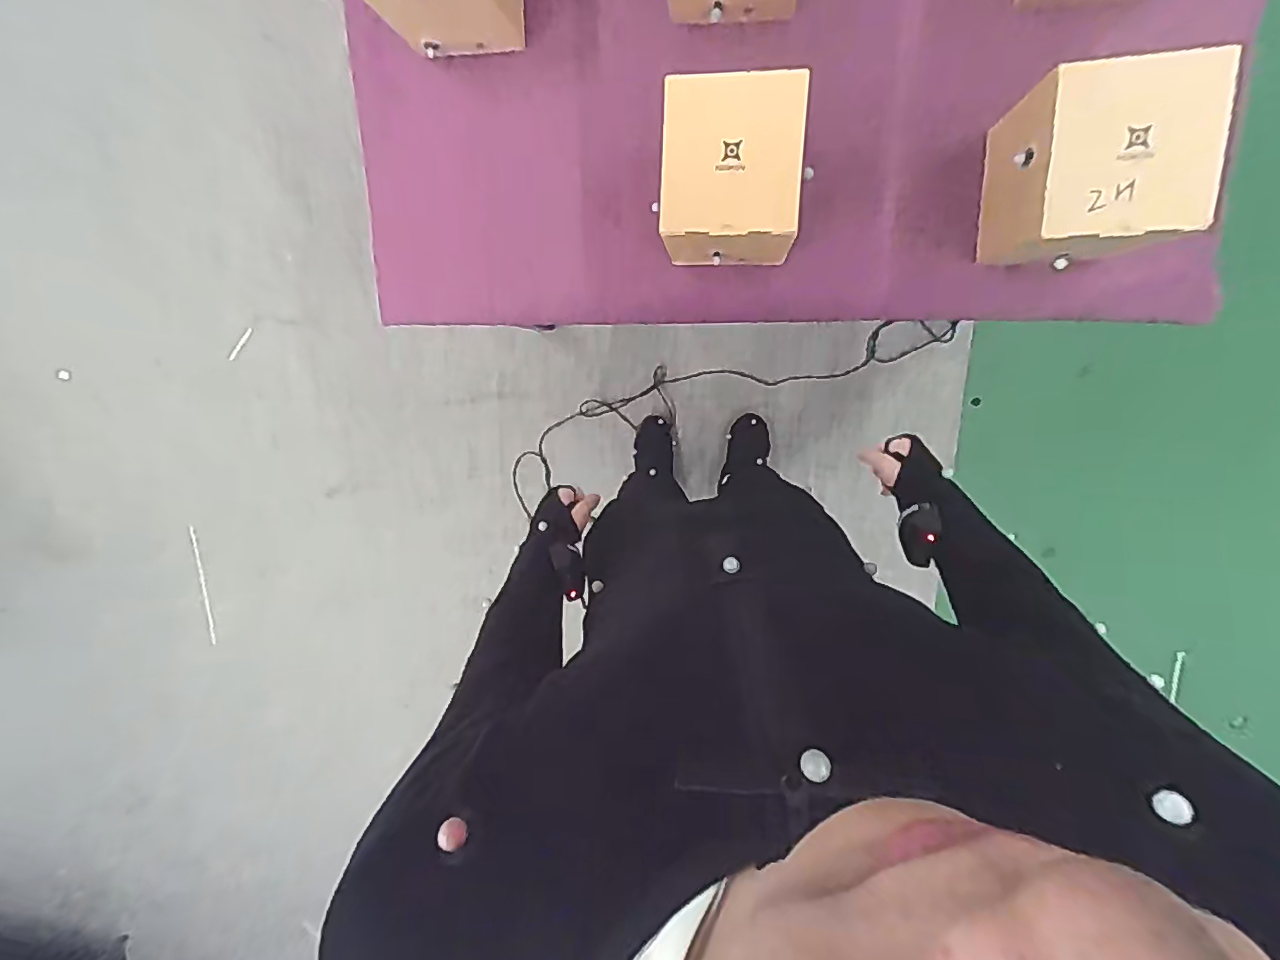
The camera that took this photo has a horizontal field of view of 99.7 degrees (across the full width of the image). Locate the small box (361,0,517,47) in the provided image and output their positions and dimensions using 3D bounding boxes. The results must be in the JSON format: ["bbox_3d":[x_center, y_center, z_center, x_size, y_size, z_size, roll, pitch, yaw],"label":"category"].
[{"bbox_3d":[-0.264,-0.692,0.693,0.168,0.176,0.179,3,104,7],"label":"small box"}]

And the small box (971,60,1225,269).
[{"bbox_3d":[0.531,-0.365,0.659,0.168,0.176,0.179,1,103,9],"label":"small box"}]

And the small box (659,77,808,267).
[{"bbox_3d":[0.115,-0.391,0.714,0.168,0.176,0.179,3,103,6],"label":"small box"}]

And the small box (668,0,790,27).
[{"bbox_3d":[0.112,-0.691,0.647,0.168,0.176,0.179,4,105,7],"label":"small box"}]
